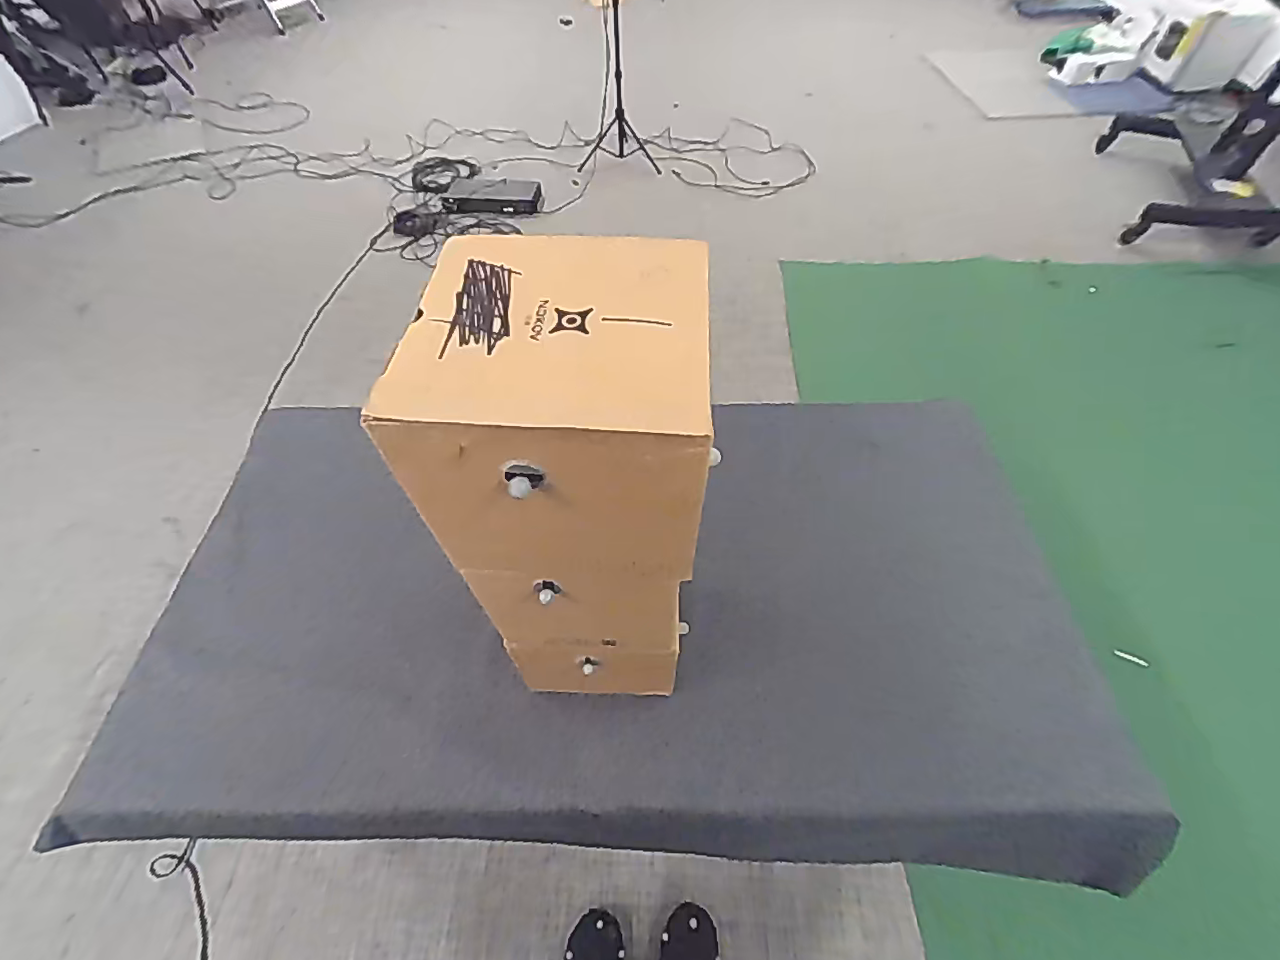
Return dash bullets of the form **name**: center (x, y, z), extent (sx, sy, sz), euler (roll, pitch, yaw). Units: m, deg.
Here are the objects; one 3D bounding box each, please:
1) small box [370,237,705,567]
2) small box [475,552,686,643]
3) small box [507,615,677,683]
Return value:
- **small box**: center (-0.048, -0.049, 0.385), extent (0.179, 0.176, 0.168), euler (3, 55, 3)
- **small box**: center (-0.045, 0.044, 0.525), extent (0.168, 0.176, 0.179), euler (0, 55, 0)
- **small box**: center (-0.045, 0.140, 0.654), extent (0.179, 0.176, 0.168), euler (1, 55, 1)
